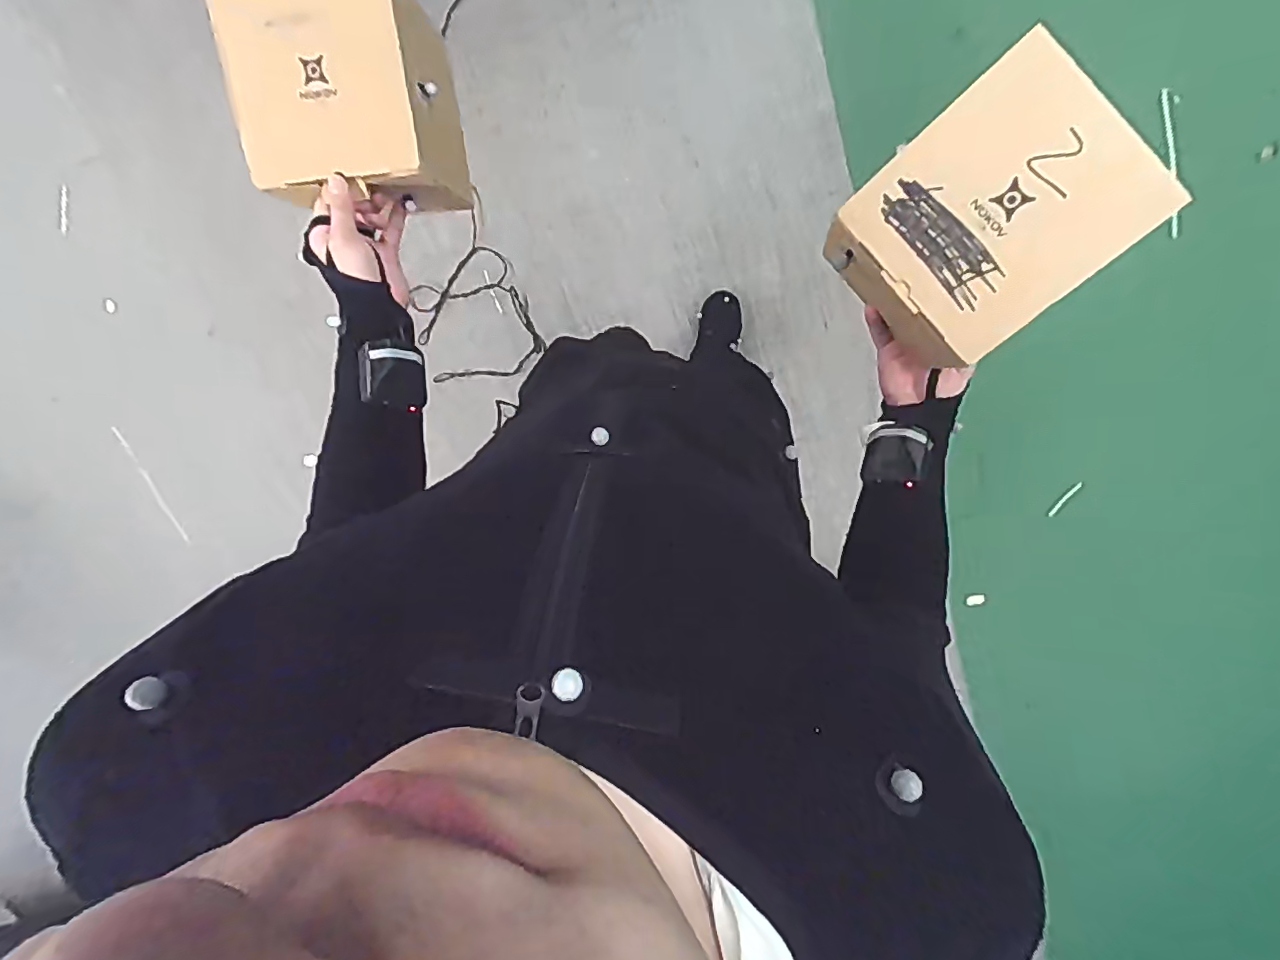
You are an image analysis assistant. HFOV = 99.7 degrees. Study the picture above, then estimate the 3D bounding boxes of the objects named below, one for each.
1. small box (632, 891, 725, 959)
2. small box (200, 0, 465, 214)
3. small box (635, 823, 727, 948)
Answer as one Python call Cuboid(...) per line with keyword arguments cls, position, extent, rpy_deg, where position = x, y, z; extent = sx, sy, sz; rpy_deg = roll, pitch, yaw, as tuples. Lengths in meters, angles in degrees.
Cuboid(cls="small box", position=(0.084, 0.991, 1.102), extent=(0.168, 0.176, 0.179), rpy_deg=(-5, 105, 11))
Cuboid(cls="small box", position=(-0.297, -0.388, 0.564), extent=(0.168, 0.176, 0.179), rpy_deg=(-5, 105, 2))
Cuboid(cls="small box", position=(0.104, 0.940, 1.258), extent=(0.168, 0.176, 0.179), rpy_deg=(-15, 104, 14))
